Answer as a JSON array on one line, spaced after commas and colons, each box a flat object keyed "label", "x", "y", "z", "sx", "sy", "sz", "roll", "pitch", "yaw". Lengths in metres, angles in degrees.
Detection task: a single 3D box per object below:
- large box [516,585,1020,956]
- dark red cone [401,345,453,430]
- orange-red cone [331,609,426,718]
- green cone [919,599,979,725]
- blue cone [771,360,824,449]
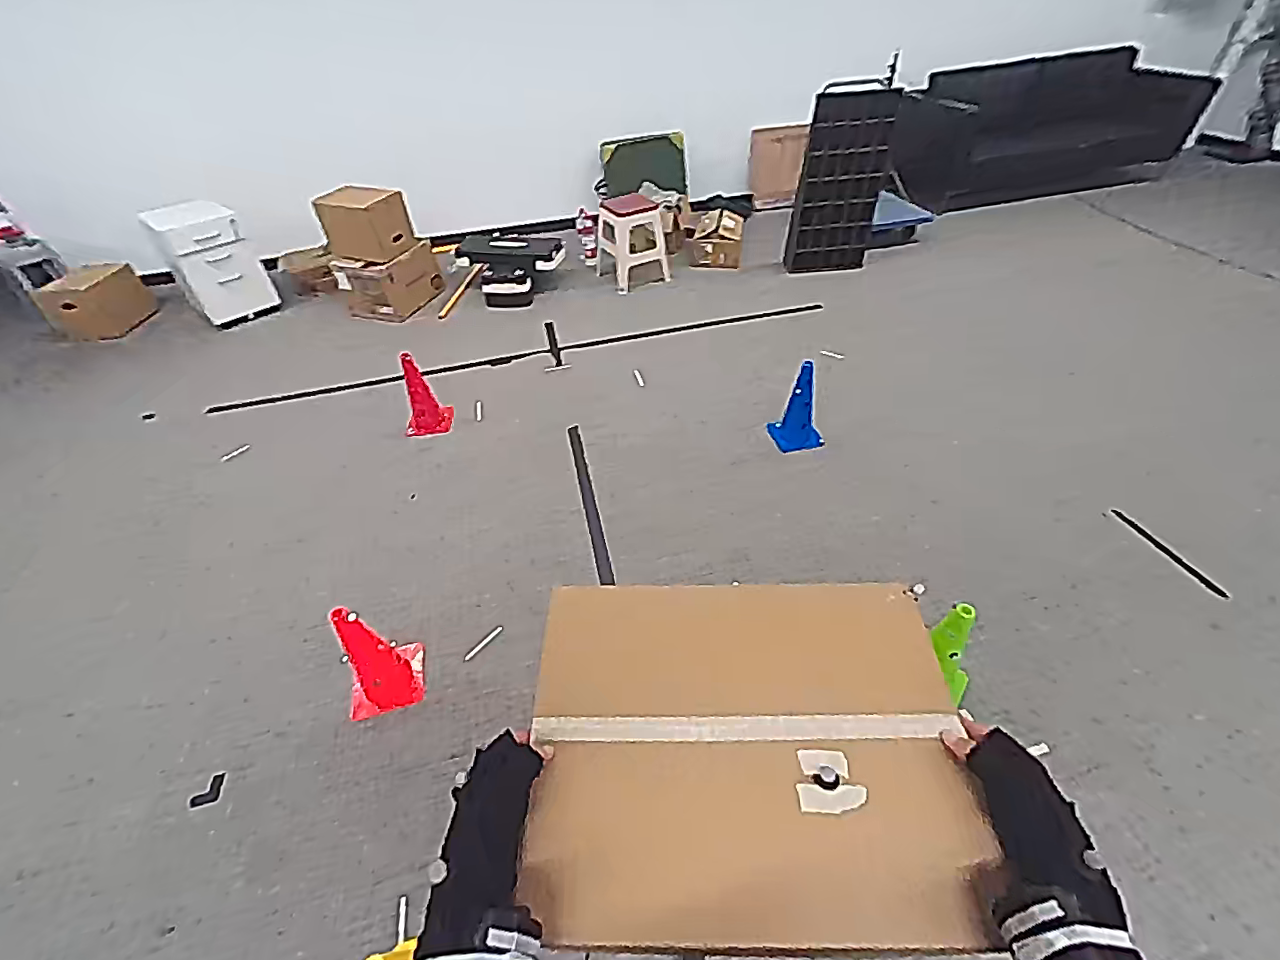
[{"label": "large box", "x": 0.100, "y": 0.339, "z": 0.628, "sx": 0.408, "sy": 0.320, "sz": 0.320, "roll": -1, "pitch": 48, "yaw": 1}, {"label": "dark red cone", "x": -0.985, "y": -0.415, "z": 2.408, "sx": 0.201, "sy": 0.394, "sz": 0.202, "roll": -7, "pitch": 43, "yaw": -4}, {"label": "orange-red cone", "x": -0.747, "y": 0.468, "z": 1.483, "sx": 0.198, "sy": 0.360, "sz": 0.199, "roll": -14, "pitch": 45, "yaw": -9}, {"label": "green cone", "x": 0.788, "y": 0.432, "z": 1.397, "sx": 0.200, "sy": 0.368, "sz": 0.202, "roll": 28, "pitch": 50, "yaw": 28}, {"label": "blue cone", "x": 0.673, "y": -0.321, "z": 2.235, "sx": 0.192, "sy": 0.380, "sz": 0.193, "roll": -9, "pitch": 43, "yaw": -6}]
